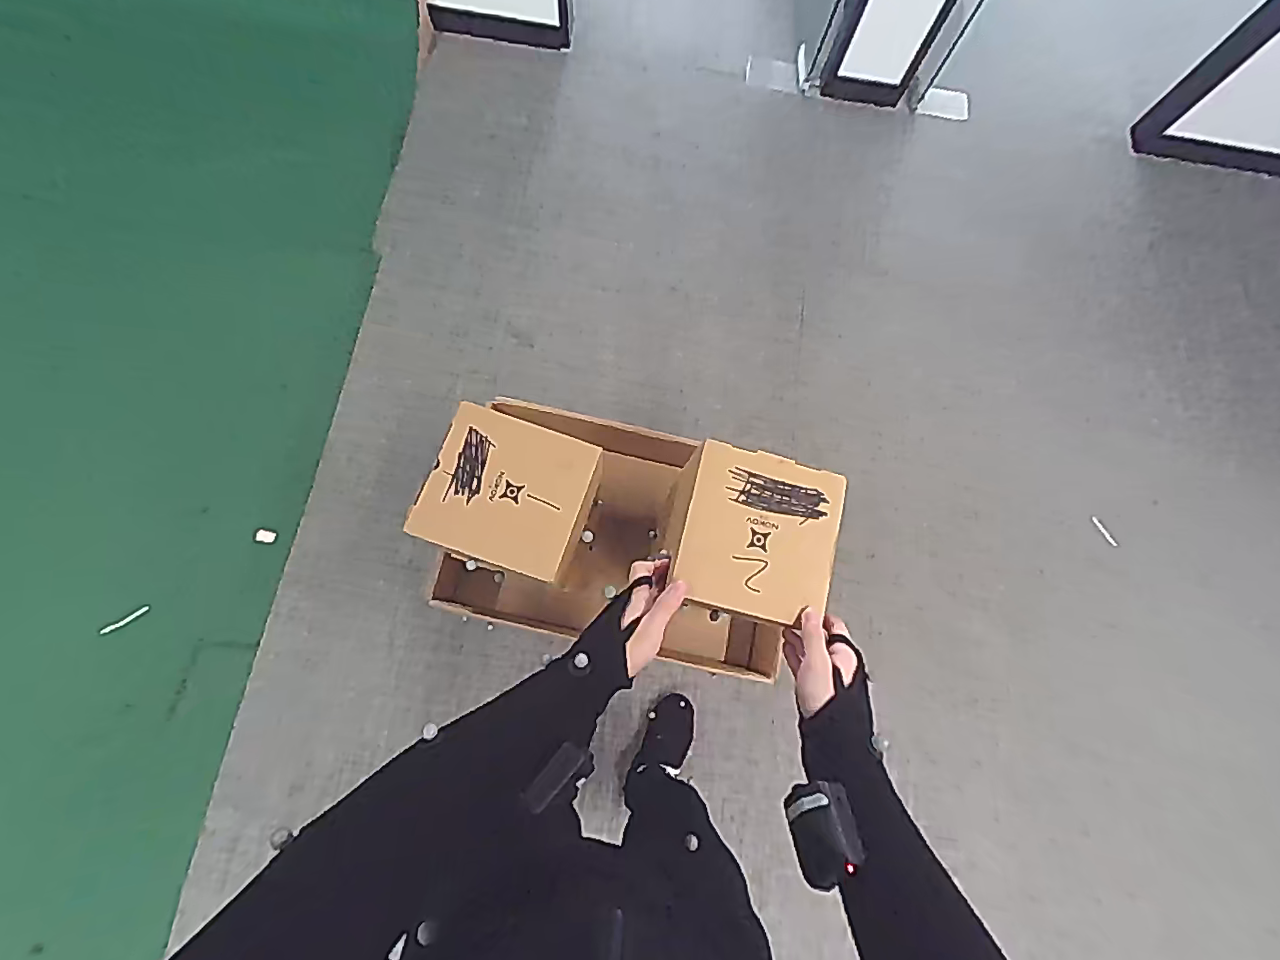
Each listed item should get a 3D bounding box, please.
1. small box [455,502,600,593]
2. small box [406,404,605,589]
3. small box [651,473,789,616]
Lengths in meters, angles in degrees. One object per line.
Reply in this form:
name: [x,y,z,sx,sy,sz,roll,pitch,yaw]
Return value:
small box: [-0.160,0.070,0.841,0.168,0.176,0.179,16,75,0]
small box: [-0.153,0.033,0.681,0.179,0.176,0.168,20,75,0]
small box: [0.116,0.109,0.848,0.168,0.176,0.179,14,75,-1]
